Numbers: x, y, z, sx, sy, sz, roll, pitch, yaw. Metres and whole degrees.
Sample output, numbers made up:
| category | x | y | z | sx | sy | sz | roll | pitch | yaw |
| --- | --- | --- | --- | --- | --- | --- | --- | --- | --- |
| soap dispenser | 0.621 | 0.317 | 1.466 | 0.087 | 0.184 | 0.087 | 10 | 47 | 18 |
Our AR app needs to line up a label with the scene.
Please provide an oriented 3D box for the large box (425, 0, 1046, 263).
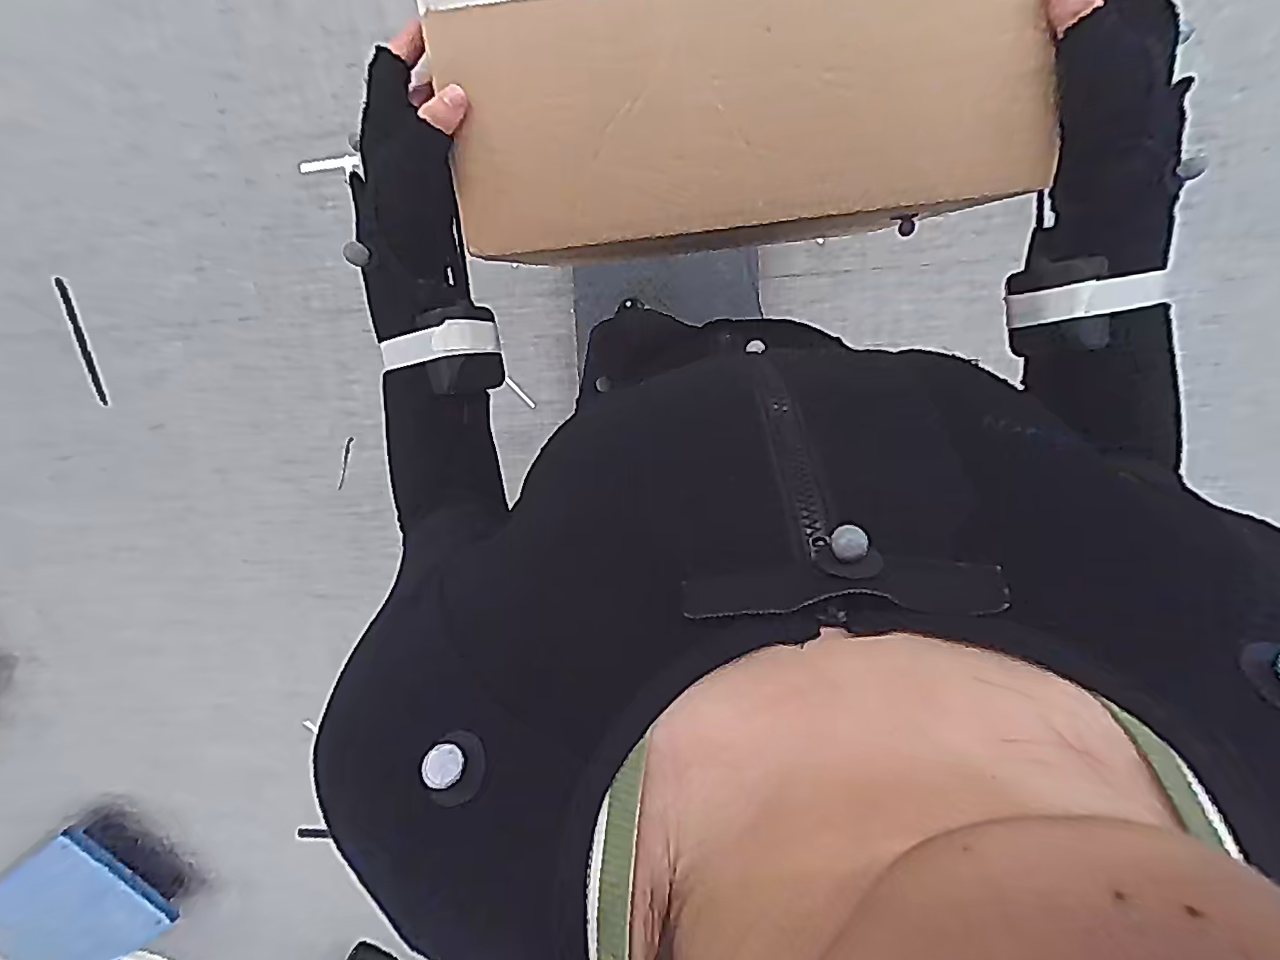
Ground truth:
| category | x | y | z | sx | sy | sz | roll | pitch | yaw |
| --- | --- | --- | --- | --- | --- | --- | --- | --- | --- |
| large box | 0.062 | -0.380 | 0.477 | 0.408 | 0.320 | 0.320 | -5 | 110 | 3 |
